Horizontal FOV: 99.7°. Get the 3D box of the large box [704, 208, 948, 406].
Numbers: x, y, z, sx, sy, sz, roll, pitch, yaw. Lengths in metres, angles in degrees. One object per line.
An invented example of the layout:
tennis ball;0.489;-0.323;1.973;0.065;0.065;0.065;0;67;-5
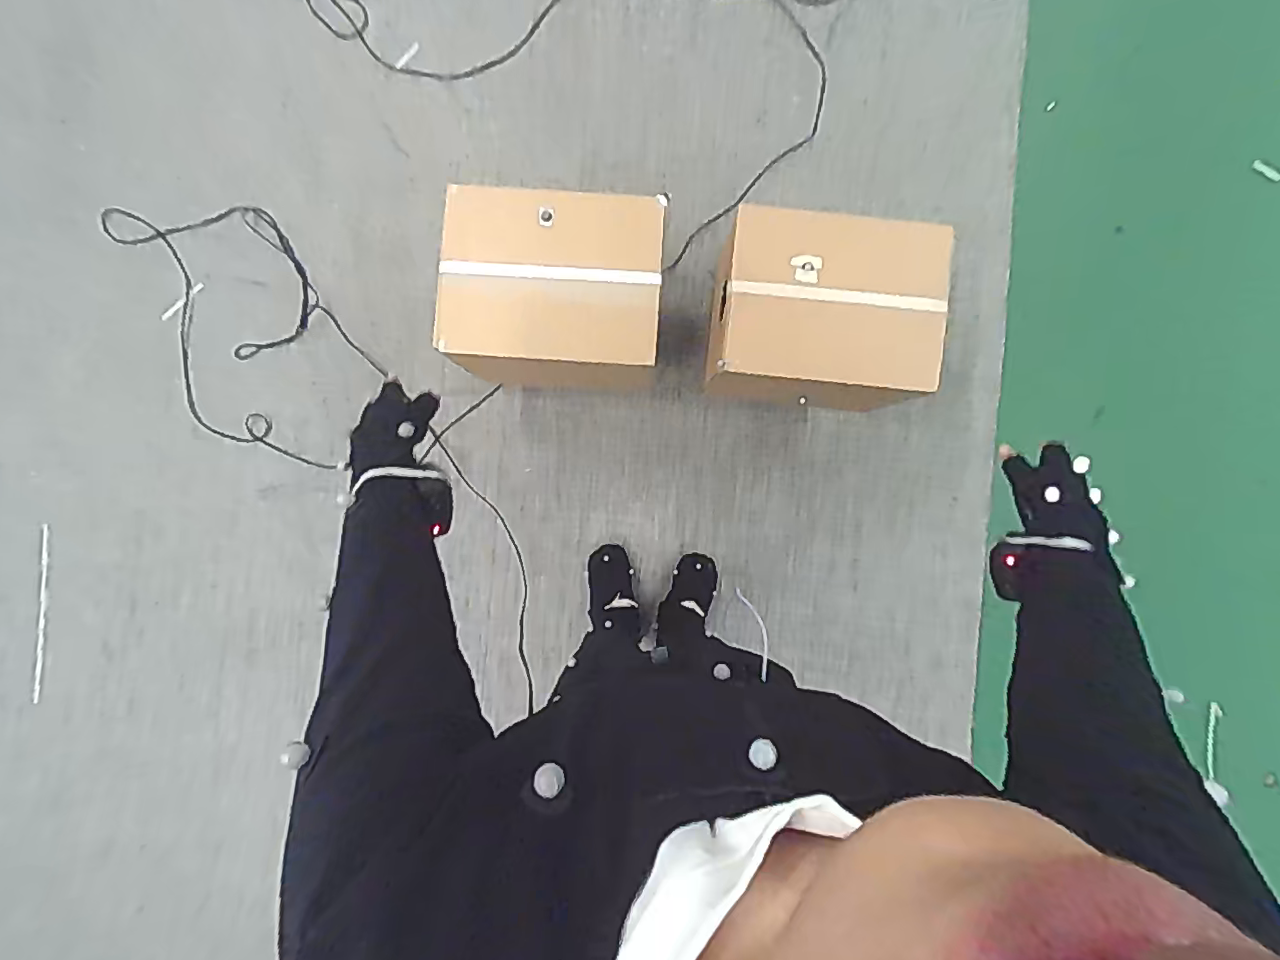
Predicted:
large box;0.367;-0.341;1.157;0.408;0.320;0.320;6;90;0
